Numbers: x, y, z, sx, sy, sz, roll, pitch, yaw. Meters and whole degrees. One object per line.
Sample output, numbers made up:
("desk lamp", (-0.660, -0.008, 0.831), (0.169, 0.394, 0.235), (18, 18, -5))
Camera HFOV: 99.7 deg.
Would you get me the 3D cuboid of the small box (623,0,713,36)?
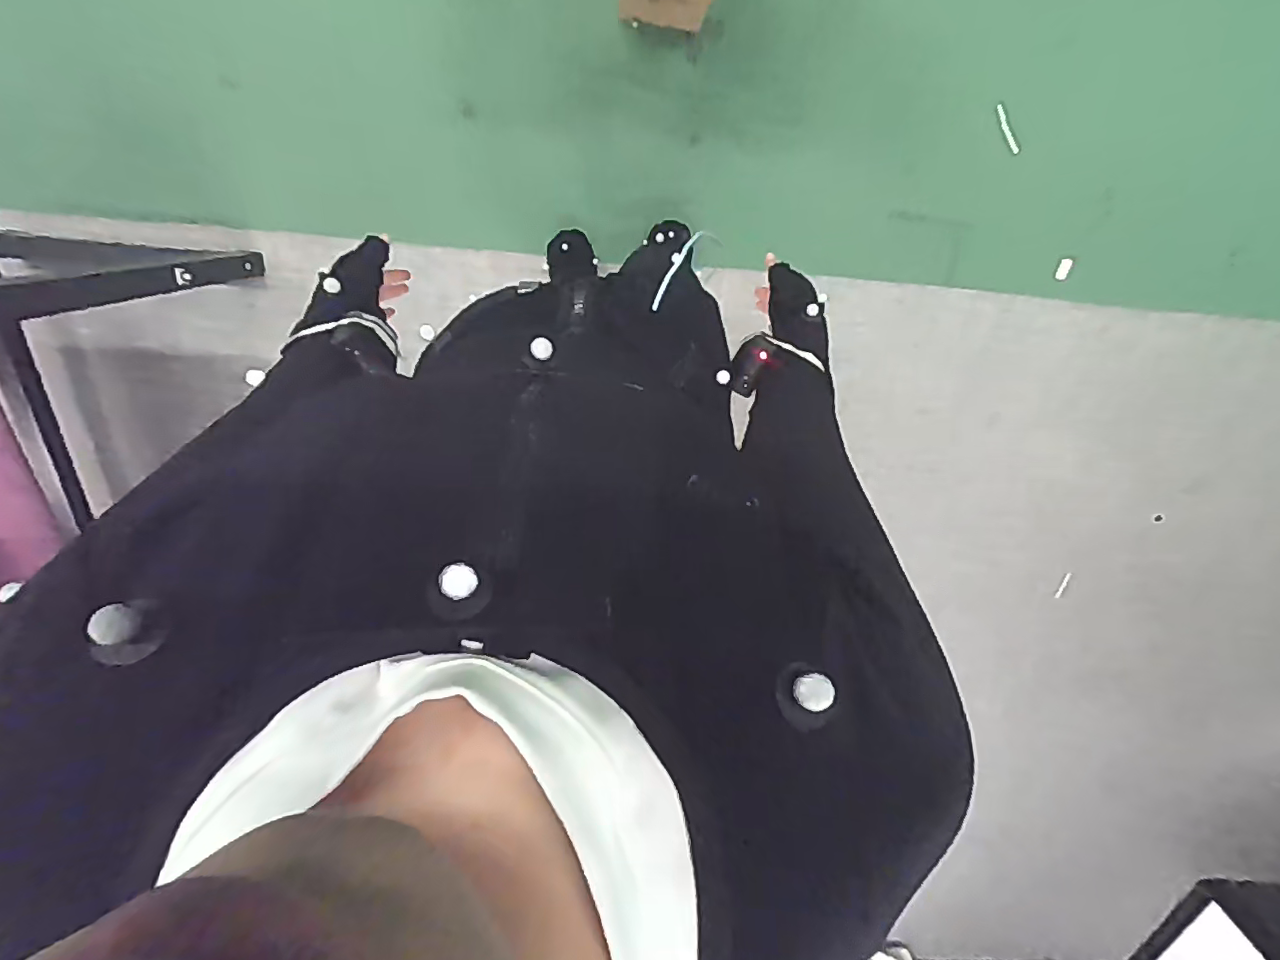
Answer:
("small box", (0.060, -0.967, 1.008), (0.168, 0.176, 0.179), (6, 115, -5))
